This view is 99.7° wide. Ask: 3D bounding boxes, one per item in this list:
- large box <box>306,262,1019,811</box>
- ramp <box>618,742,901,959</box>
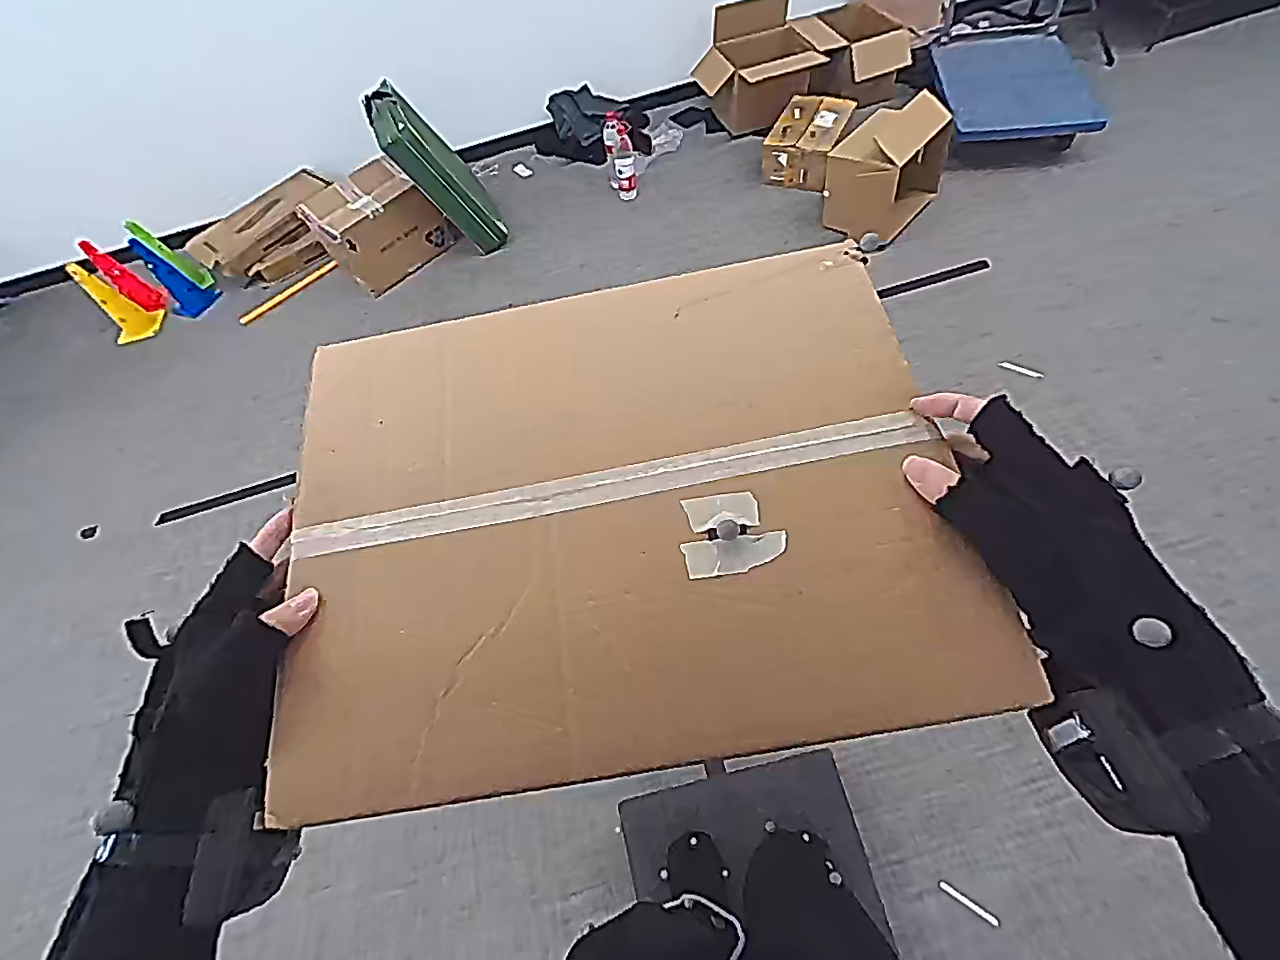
[{"bbox_3d":[0.000,0.067,0.487,0.408,0.320,0.320,-10,67,2],"label":"large box"},{"bbox_3d":[0.301,1.089,1.026,0.509,0.206,0.991,-16,58,-1],"label":"ramp"}]
